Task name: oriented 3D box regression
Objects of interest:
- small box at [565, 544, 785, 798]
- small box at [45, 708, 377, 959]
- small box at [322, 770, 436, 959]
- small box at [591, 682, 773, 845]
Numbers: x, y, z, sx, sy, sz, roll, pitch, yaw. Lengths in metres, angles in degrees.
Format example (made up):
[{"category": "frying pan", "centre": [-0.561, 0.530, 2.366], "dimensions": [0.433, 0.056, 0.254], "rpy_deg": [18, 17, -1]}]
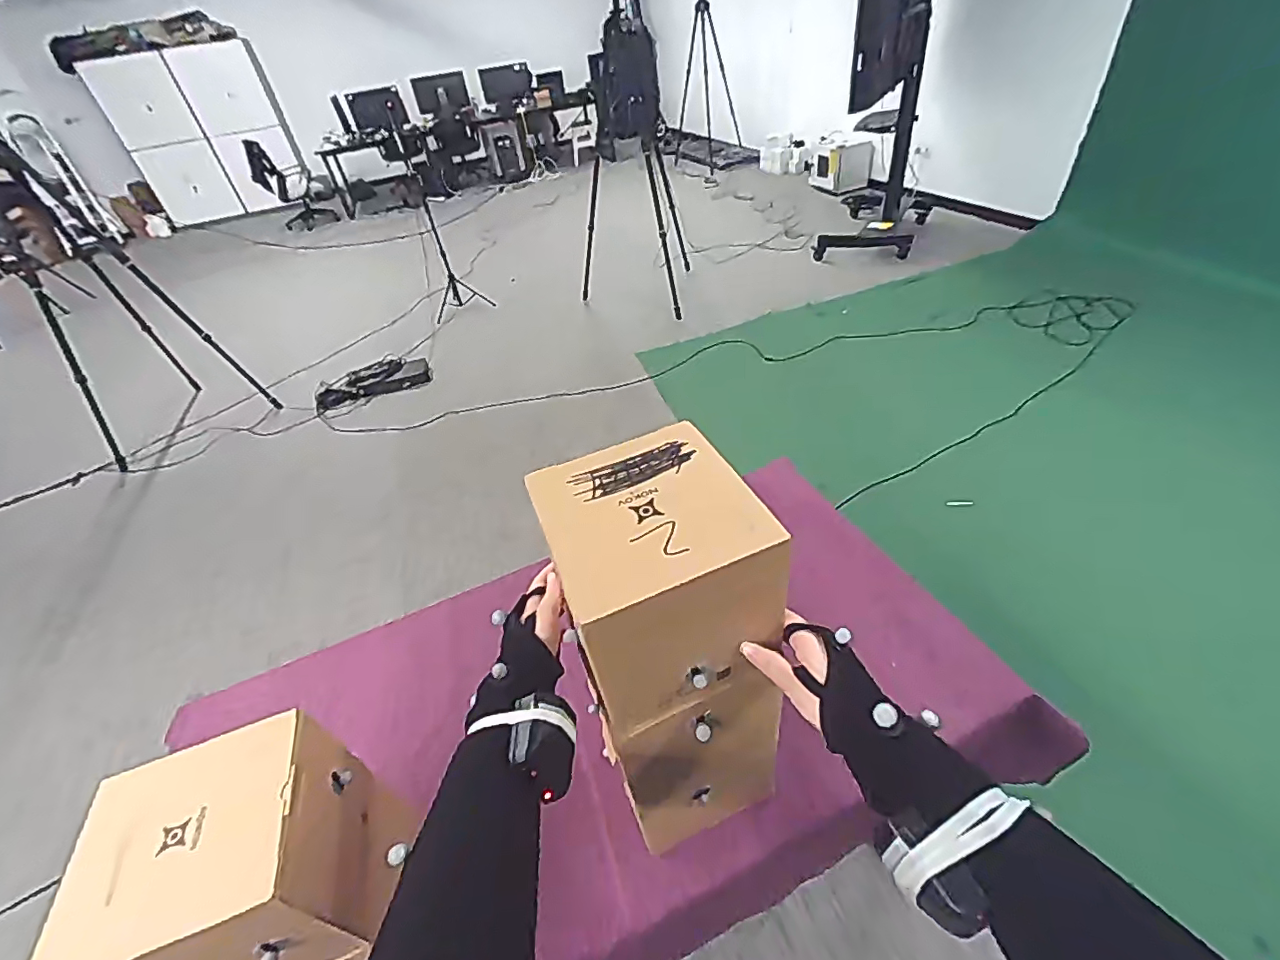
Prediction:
[{"category": "small box", "centre": [0.037, 0.207, 0.593], "dimensions": [0.179, 0.176, 0.168], "rpy_deg": [-21, 42, -11]}, {"category": "small box", "centre": [-0.368, 0.354, 0.507], "dimensions": [0.179, 0.176, 0.168], "rpy_deg": [-19, 42, -10]}, {"category": "small box", "centre": [-0.347, 0.477, 0.613], "dimensions": [0.168, 0.176, 0.179], "rpy_deg": [-20, 41, -11]}, {"category": "small box", "centre": [0.055, 0.331, 0.699], "dimensions": [0.179, 0.176, 0.168], "rpy_deg": [-20, 42, -12]}]
